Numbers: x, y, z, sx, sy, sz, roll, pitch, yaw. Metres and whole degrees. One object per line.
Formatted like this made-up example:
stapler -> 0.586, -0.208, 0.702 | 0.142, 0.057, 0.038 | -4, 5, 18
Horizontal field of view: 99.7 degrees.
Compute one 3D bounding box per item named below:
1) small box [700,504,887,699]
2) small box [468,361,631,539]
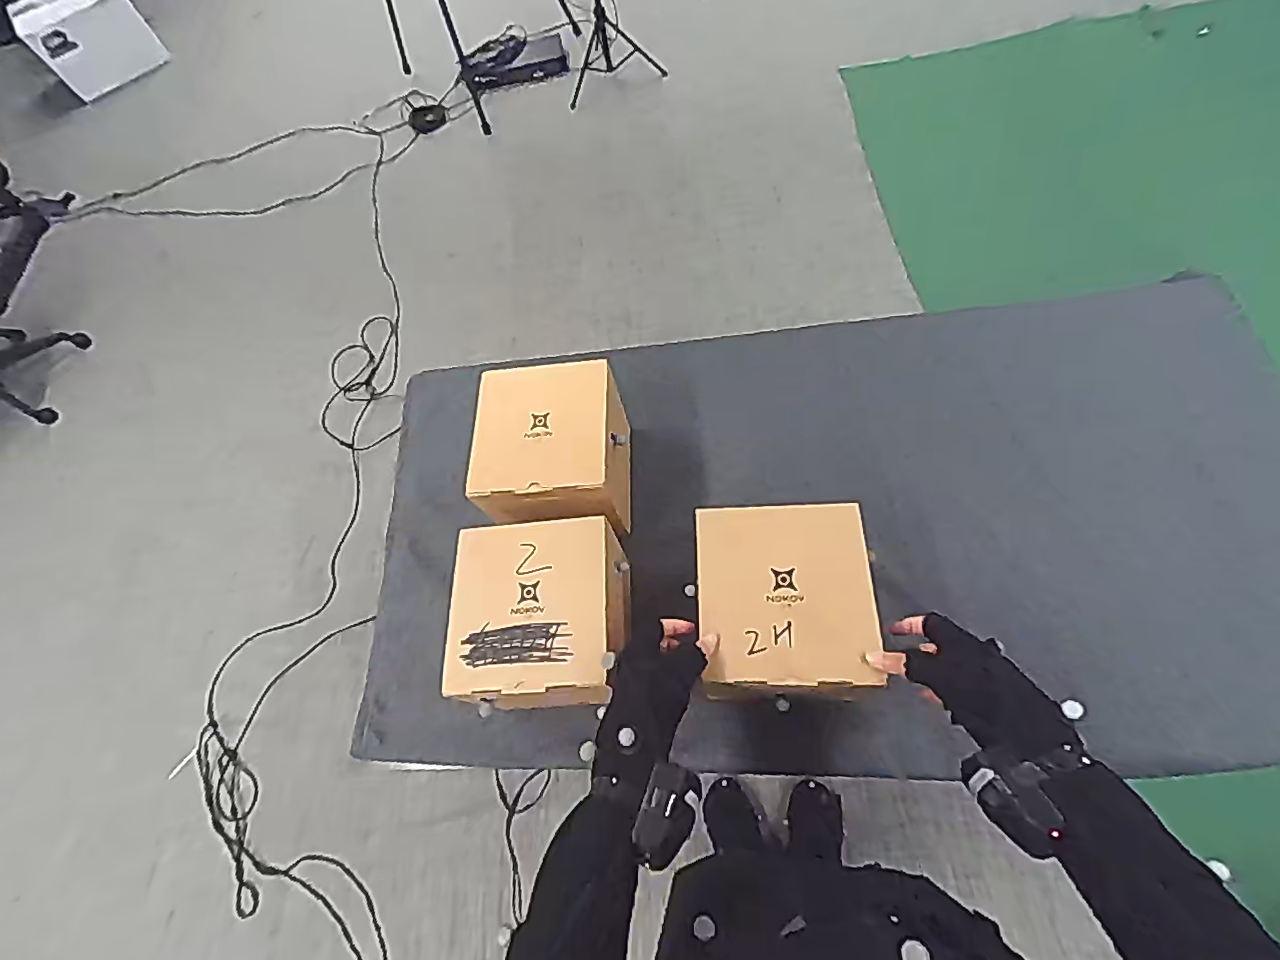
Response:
small box -> 0.150, 0.139, 0.592 | 0.168, 0.176, 0.179 | -2, 65, 8
small box -> -0.106, -0.033, 0.717 | 0.168, 0.176, 0.179 | -4, 65, 7
